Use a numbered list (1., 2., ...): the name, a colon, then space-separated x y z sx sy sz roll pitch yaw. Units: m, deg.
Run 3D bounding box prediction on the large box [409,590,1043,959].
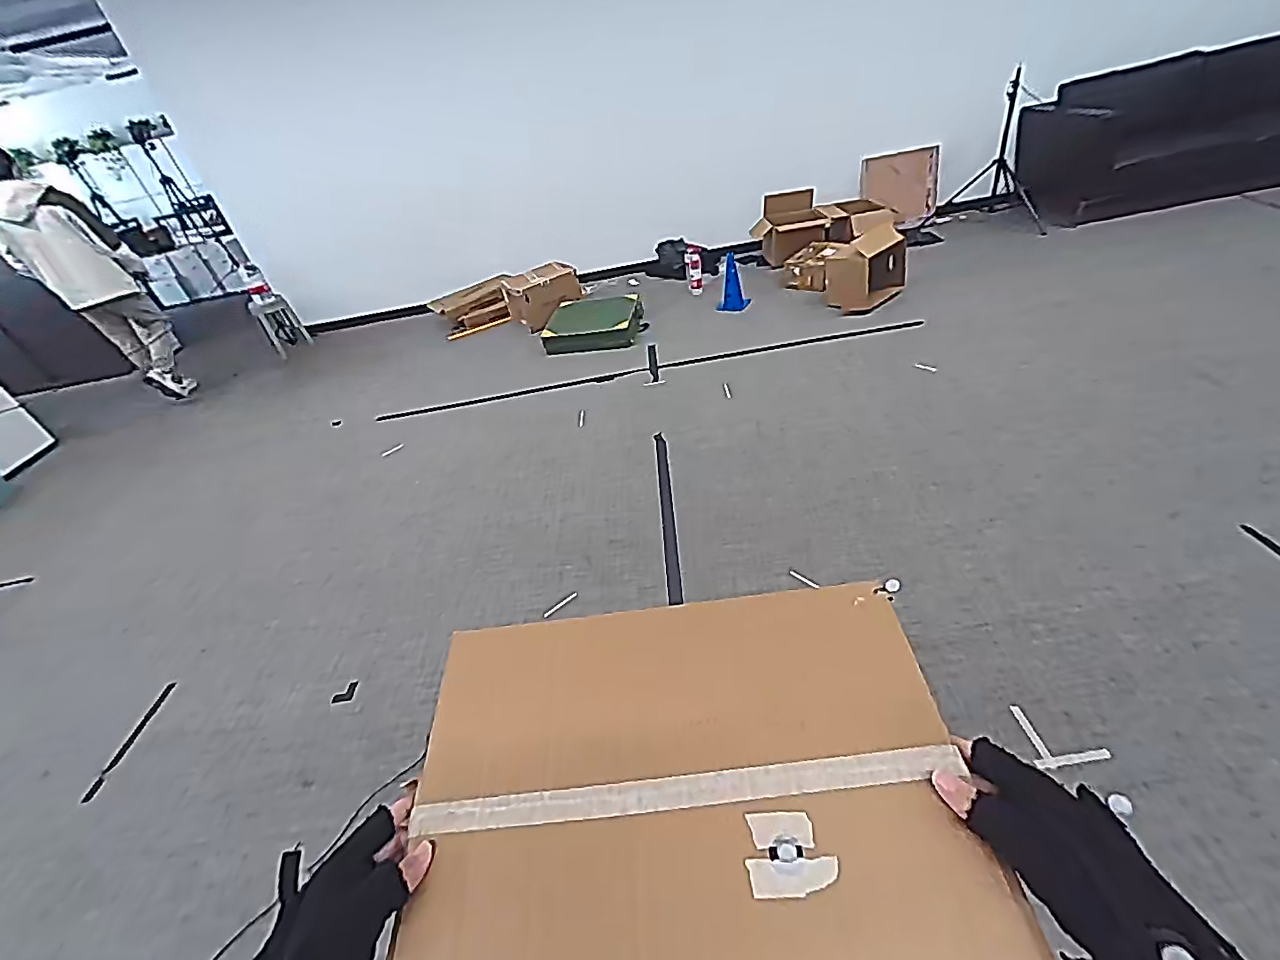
1. large box: 0.054 0.343 0.511 0.408 0.320 0.320 -8 45 2
